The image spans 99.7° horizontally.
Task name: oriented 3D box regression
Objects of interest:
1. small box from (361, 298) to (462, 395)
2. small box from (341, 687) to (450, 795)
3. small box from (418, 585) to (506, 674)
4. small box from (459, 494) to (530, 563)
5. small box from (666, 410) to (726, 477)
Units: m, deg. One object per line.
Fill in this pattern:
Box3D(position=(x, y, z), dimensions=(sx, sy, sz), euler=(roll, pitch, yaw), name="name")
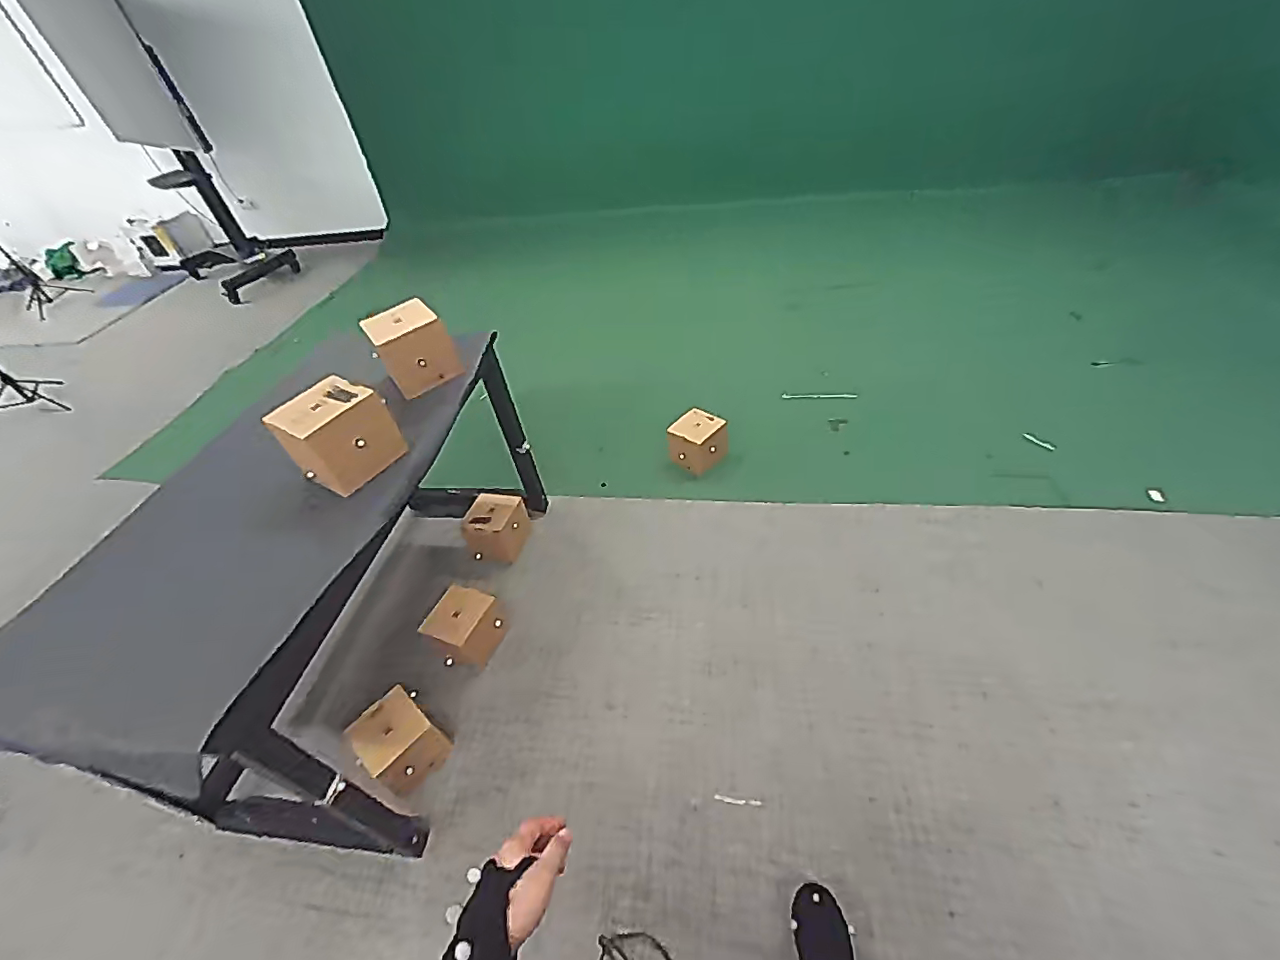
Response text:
Box3D(position=(-0.593, -0.344, 1.417), dimensions=(0.168, 0.176, 0.179), euler=(-32, 47, -19), name="small box")
Box3D(position=(-0.629, 0.687, 1.412), dimensions=(0.179, 0.176, 0.168), euler=(27, 54, 33), name="small box")
Box3D(position=(-0.526, 0.454, 1.637), dimensions=(0.168, 0.176, 0.179), euler=(11, 48, 21), name="small box")
Box3D(position=(-0.509, 0.174, 1.927), dimensions=(0.168, 0.176, 0.179), euler=(5, 44, 14), name="small box")
Box3D(position=(0.228, -0.142, 2.137), dimensions=(0.168, 0.176, 0.179), euler=(29, 56, 34), name="small box")
